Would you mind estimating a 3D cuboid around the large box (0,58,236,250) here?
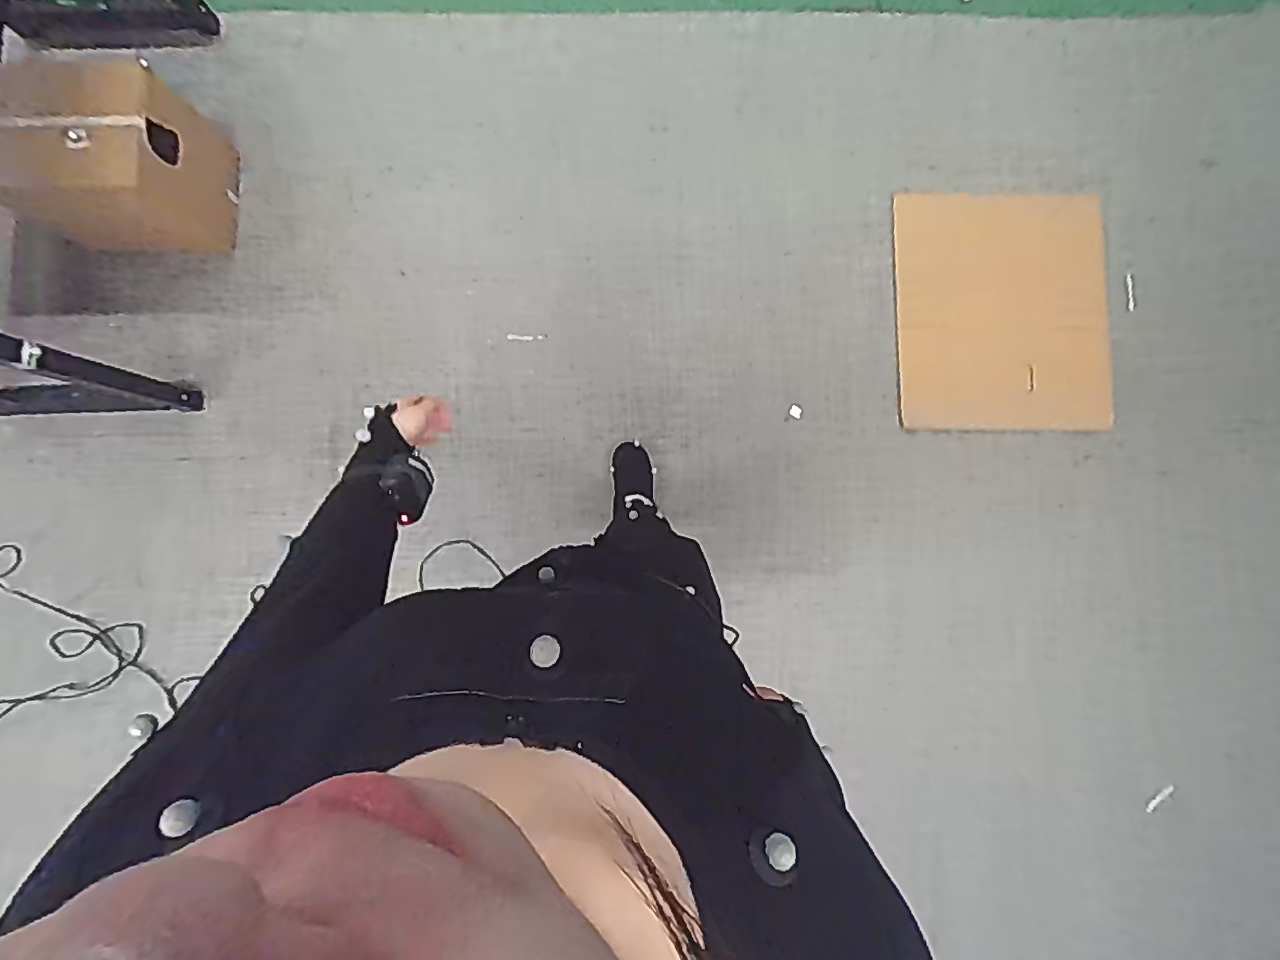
[{"bbox_3d":[-1.355,-0.815,1.391,0.408,0.320,0.320,-1,86,-2],"label":"large box"}]
